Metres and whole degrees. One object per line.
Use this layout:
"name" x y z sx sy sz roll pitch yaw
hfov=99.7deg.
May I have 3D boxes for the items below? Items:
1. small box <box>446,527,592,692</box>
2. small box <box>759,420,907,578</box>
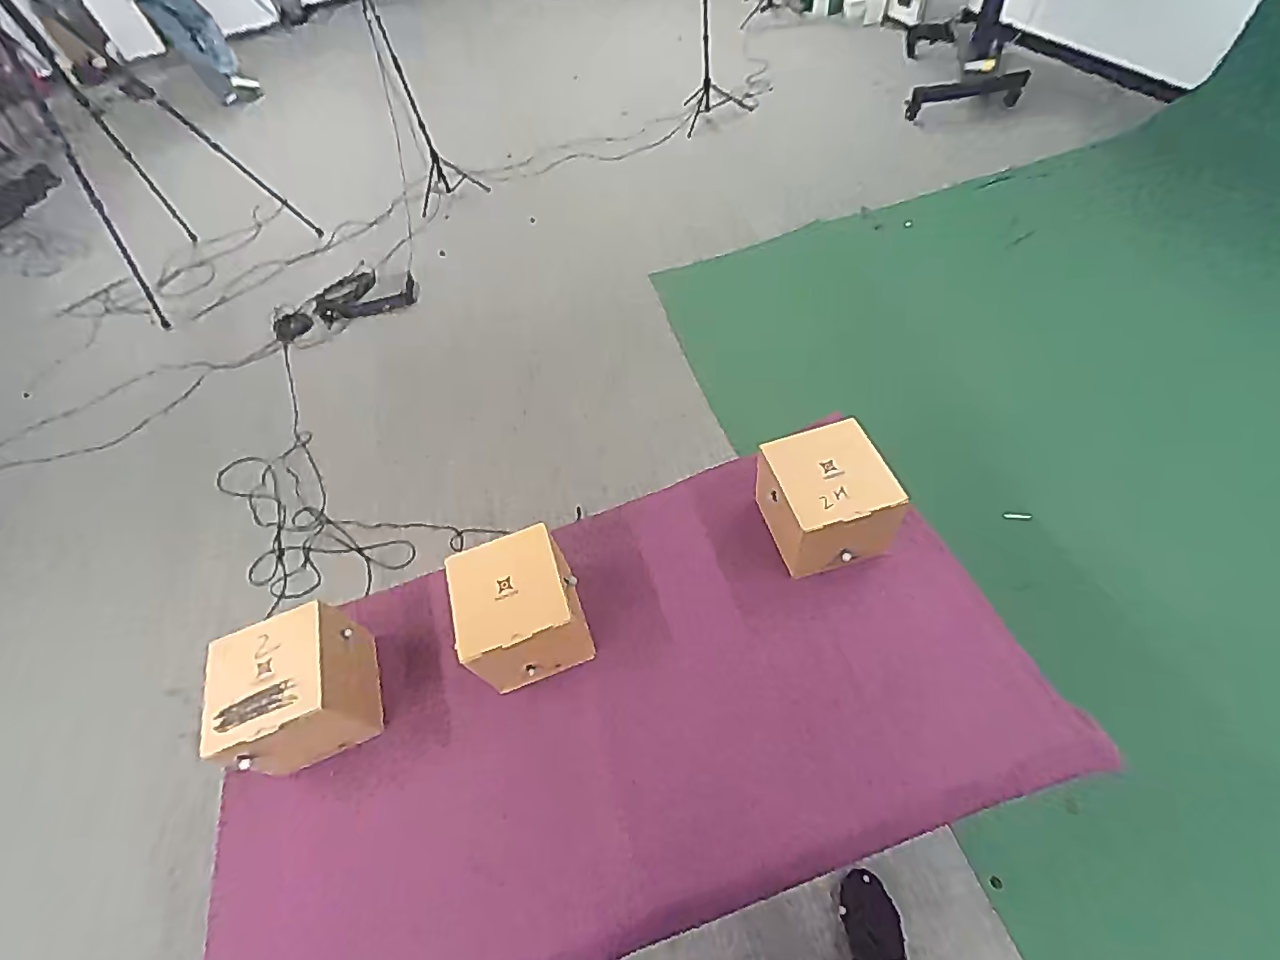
"small box" -0.188 0.209 0.858 0.168 0.176 0.179 -20 55 -5
"small box" 0.302 0.035 0.893 0.168 0.176 0.179 -17 55 -1
